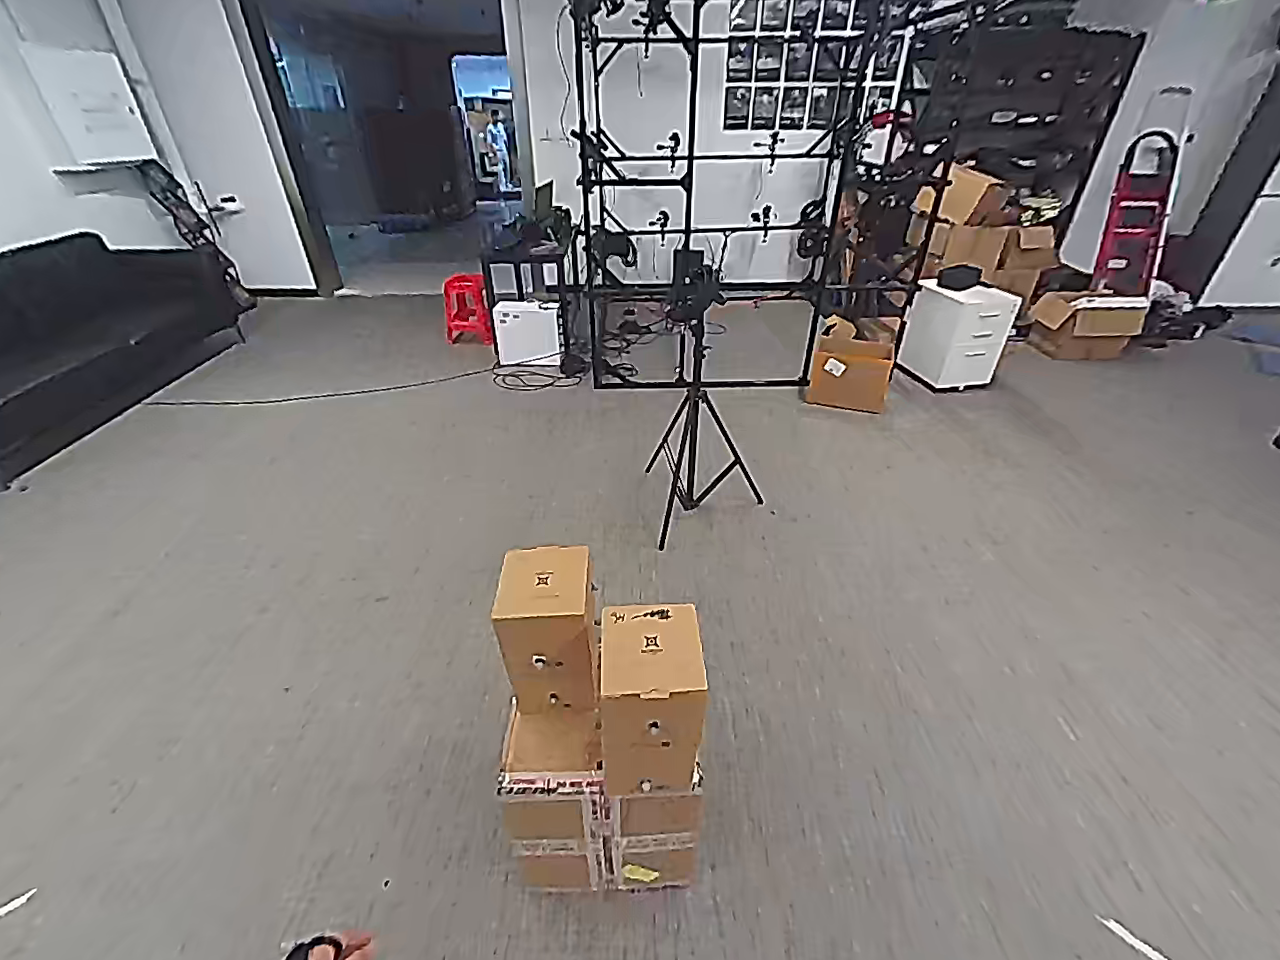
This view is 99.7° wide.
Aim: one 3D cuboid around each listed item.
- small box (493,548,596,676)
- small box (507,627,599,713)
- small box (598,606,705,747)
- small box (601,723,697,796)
[{"bbox_3d":[-0.176,0.254,1.049,0.168,0.176,0.179,-3,37,-1],"label":"small box"},{"bbox_3d":[-0.178,0.374,1.161,0.168,0.176,0.179,-3,36,-1],"label":"small box"},{"bbox_3d":[0.017,0.339,0.926,0.168,0.176,0.179,-1,37,-2],"label":"small box"},{"bbox_3d":[0.011,0.469,1.026,0.168,0.176,0.179,-2,37,-3],"label":"small box"}]
